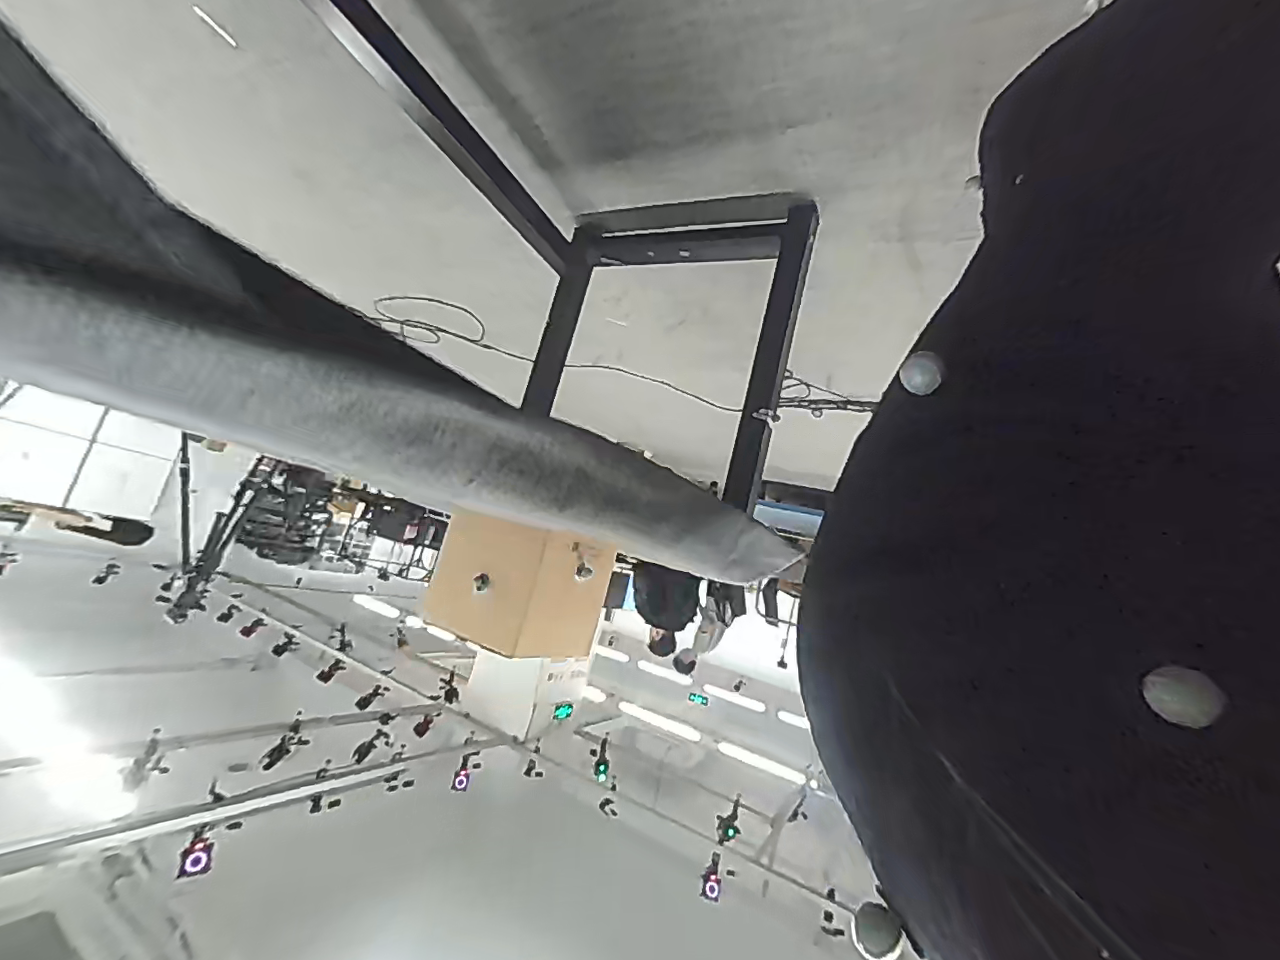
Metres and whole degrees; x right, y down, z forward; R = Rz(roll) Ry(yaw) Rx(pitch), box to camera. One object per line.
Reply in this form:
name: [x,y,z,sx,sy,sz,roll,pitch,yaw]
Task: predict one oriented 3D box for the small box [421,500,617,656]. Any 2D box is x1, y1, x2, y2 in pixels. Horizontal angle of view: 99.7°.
small box: [-0.157,0.132,0.742,0.179,0.176,0.168,9,169,31]
